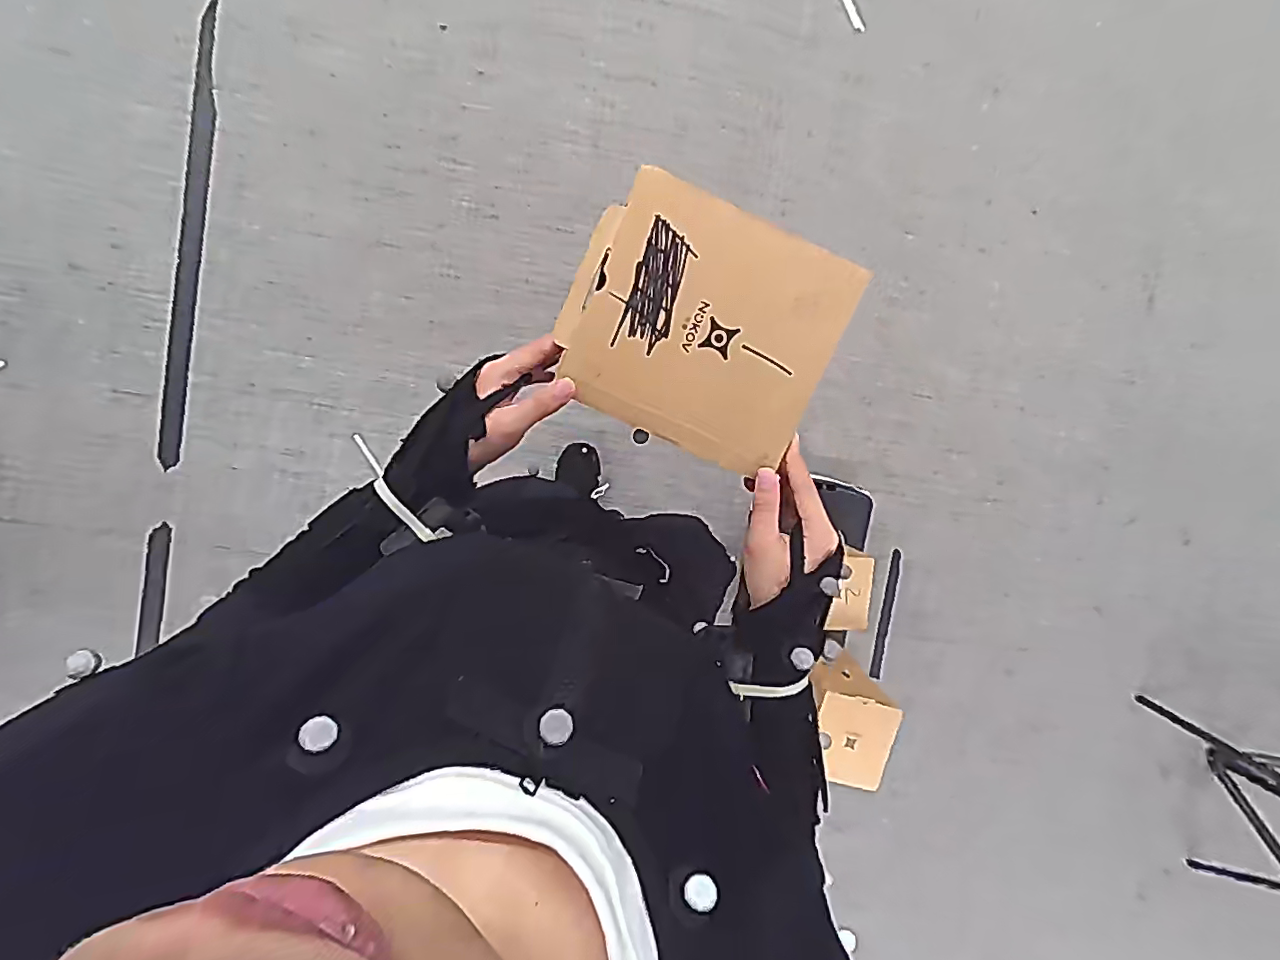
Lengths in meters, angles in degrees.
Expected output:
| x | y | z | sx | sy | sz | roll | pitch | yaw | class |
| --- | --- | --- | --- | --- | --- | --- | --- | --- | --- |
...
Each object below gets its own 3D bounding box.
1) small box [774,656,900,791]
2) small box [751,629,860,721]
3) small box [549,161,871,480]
| x | y | z | sx | sy | sz | roll | pitch | yaw | class |
| --- | --- | --- | --- | --- | --- | --- | --- | --- | --- |
| 0.393 | 0.494 | 1.115 | 0.168 | 0.176 | 0.179 | 16 | 93 | -6 | small box |
| 0.380 | 0.466 | 1.276 | 0.179 | 0.176 | 0.168 | 13 | 94 | -7 | small box |
| 0.047 | -0.118 | 0.452 | 0.179 | 0.176 | 0.168 | 24 | 99 | -4 | small box |
